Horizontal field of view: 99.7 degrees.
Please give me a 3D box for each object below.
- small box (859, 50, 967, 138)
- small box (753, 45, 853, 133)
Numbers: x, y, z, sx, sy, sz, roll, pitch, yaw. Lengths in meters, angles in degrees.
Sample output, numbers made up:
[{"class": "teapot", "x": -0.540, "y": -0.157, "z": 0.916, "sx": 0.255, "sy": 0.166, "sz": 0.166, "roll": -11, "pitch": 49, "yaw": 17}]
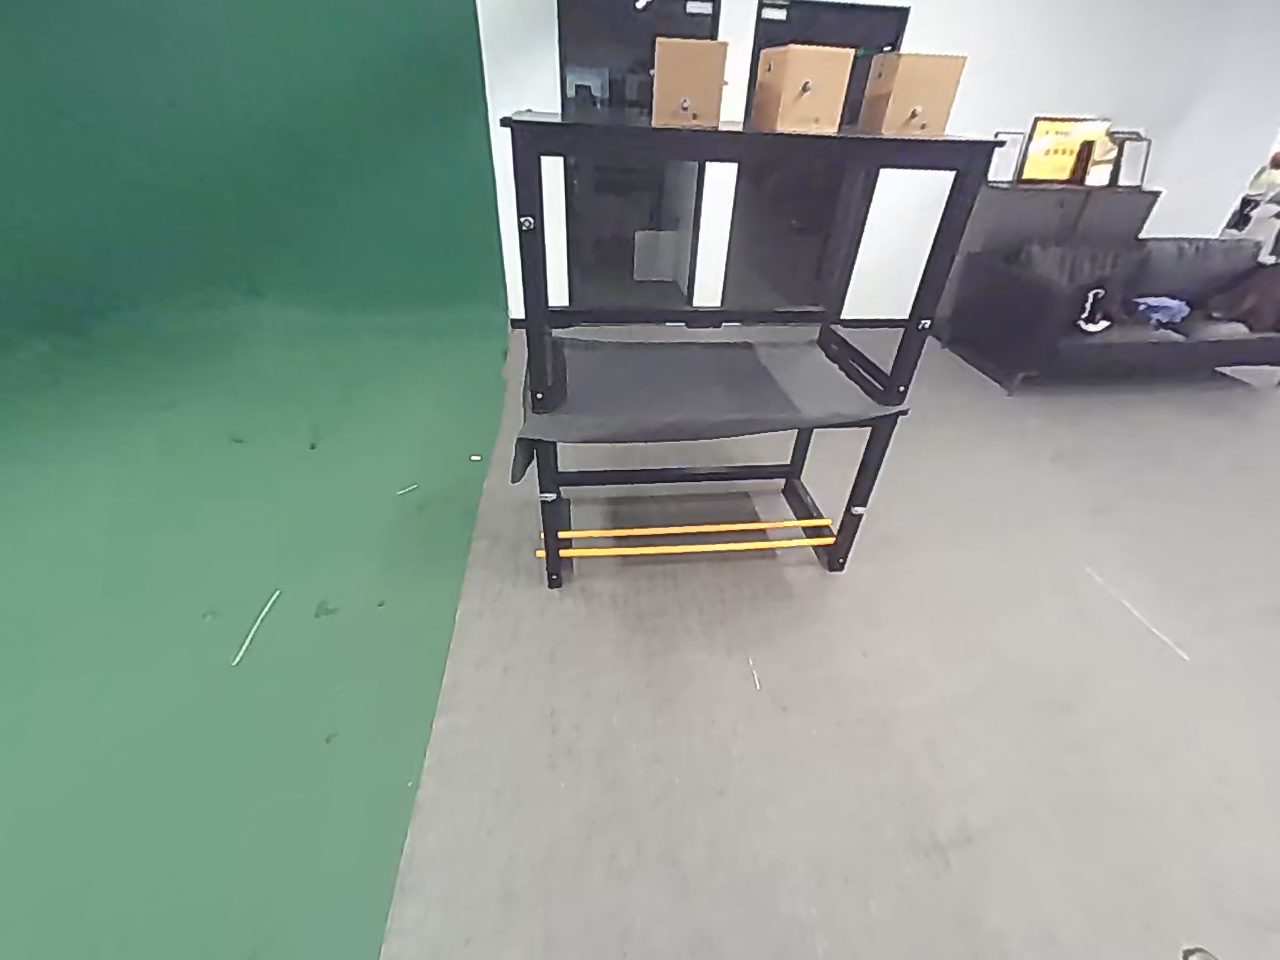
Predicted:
[{"class": "small box", "x": 0.687, "y": -0.986, "z": 1.387, "sx": 0.168, "sy": 0.176, "sz": 0.179, "roll": 0, "pitch": 36, "yaw": -2}, {"class": "small box", "x": 0.397, "y": -0.969, "z": 1.349, "sx": 0.168, "sy": 0.176, "sz": 0.179, "roll": -5, "pitch": 35, "yaw": -11}]
